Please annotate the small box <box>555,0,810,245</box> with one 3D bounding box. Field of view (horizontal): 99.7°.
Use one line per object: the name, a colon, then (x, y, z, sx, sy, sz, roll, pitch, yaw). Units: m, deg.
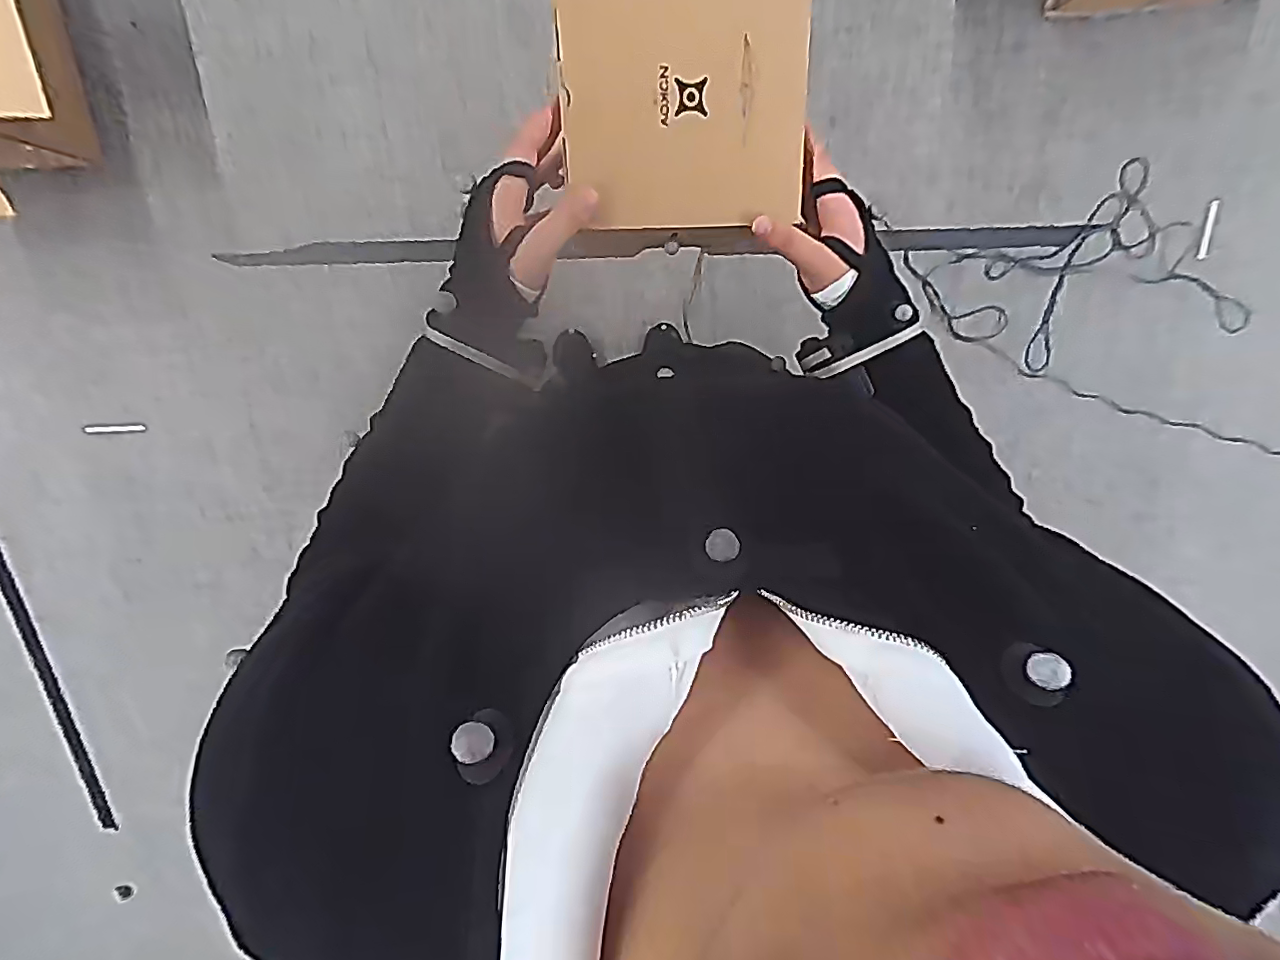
small box: (0.025, -0.296, 0.457, 0.179, 0.176, 0.168, -5, 110, -6)
